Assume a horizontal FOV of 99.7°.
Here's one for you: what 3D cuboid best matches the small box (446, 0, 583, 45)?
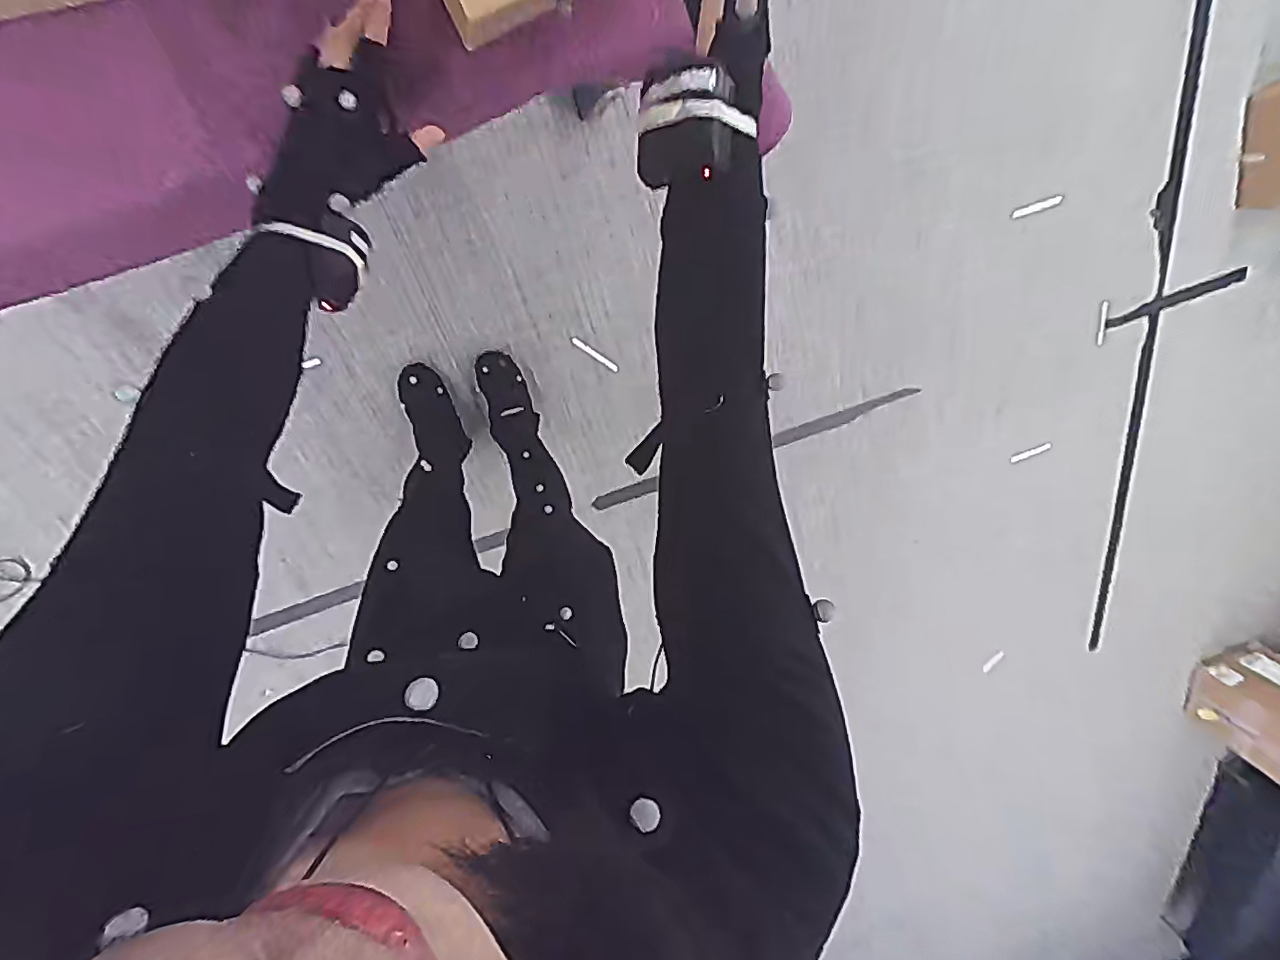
[{"bbox_3d":[-0.084,-0.446,0.381,0.179,0.176,0.168,-26,126,0],"label":"small box"}]
